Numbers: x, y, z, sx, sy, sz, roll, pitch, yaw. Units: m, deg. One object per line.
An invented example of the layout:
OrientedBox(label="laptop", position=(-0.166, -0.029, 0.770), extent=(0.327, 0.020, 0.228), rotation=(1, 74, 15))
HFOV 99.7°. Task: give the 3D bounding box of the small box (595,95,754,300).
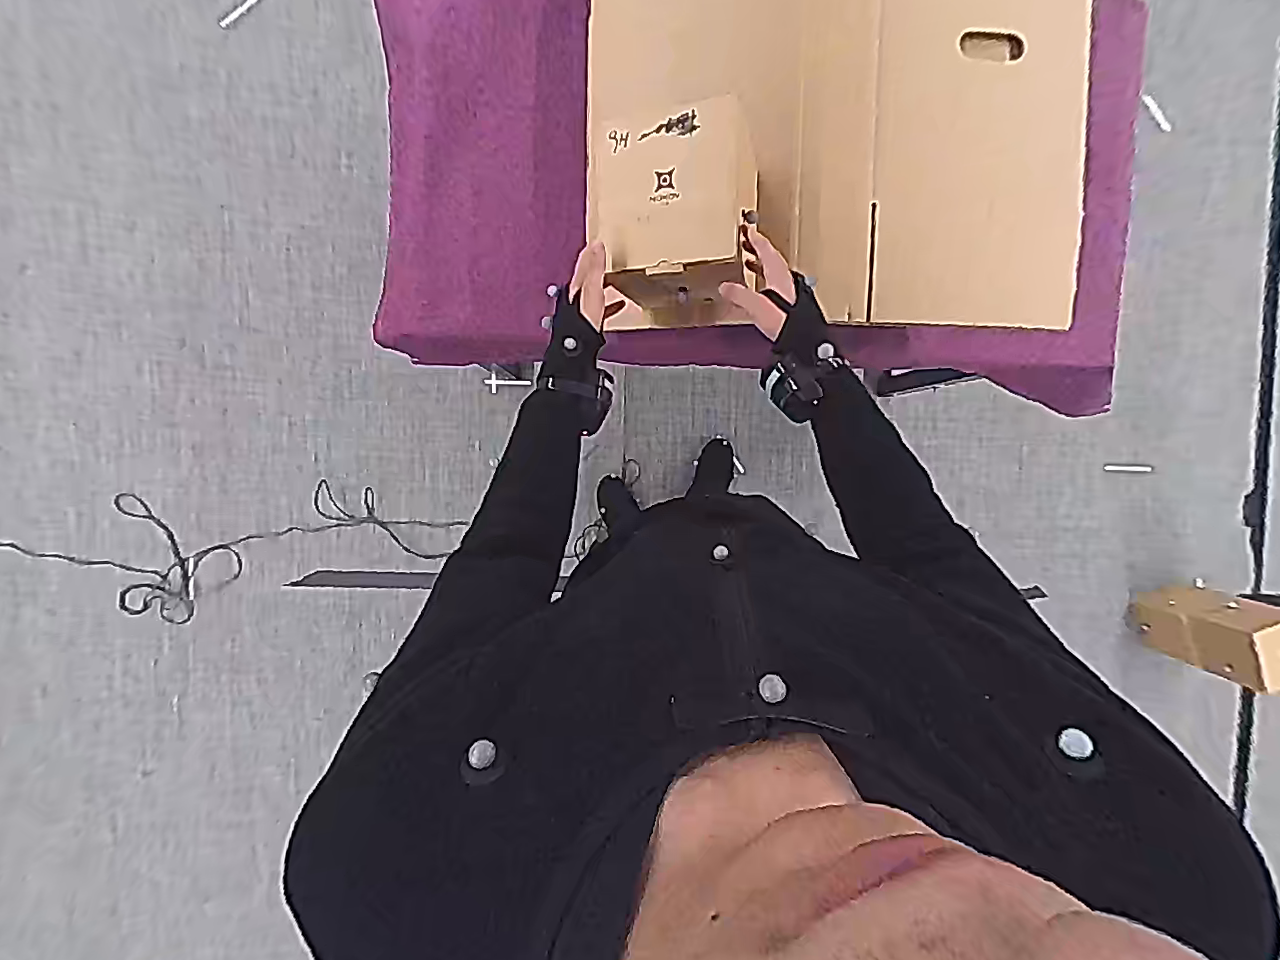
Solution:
OrientedBox(label="small box", position=(0.051, -0.332, 0.681), extent=(0.168, 0.176, 0.179), rotation=(1, 95, 18))
